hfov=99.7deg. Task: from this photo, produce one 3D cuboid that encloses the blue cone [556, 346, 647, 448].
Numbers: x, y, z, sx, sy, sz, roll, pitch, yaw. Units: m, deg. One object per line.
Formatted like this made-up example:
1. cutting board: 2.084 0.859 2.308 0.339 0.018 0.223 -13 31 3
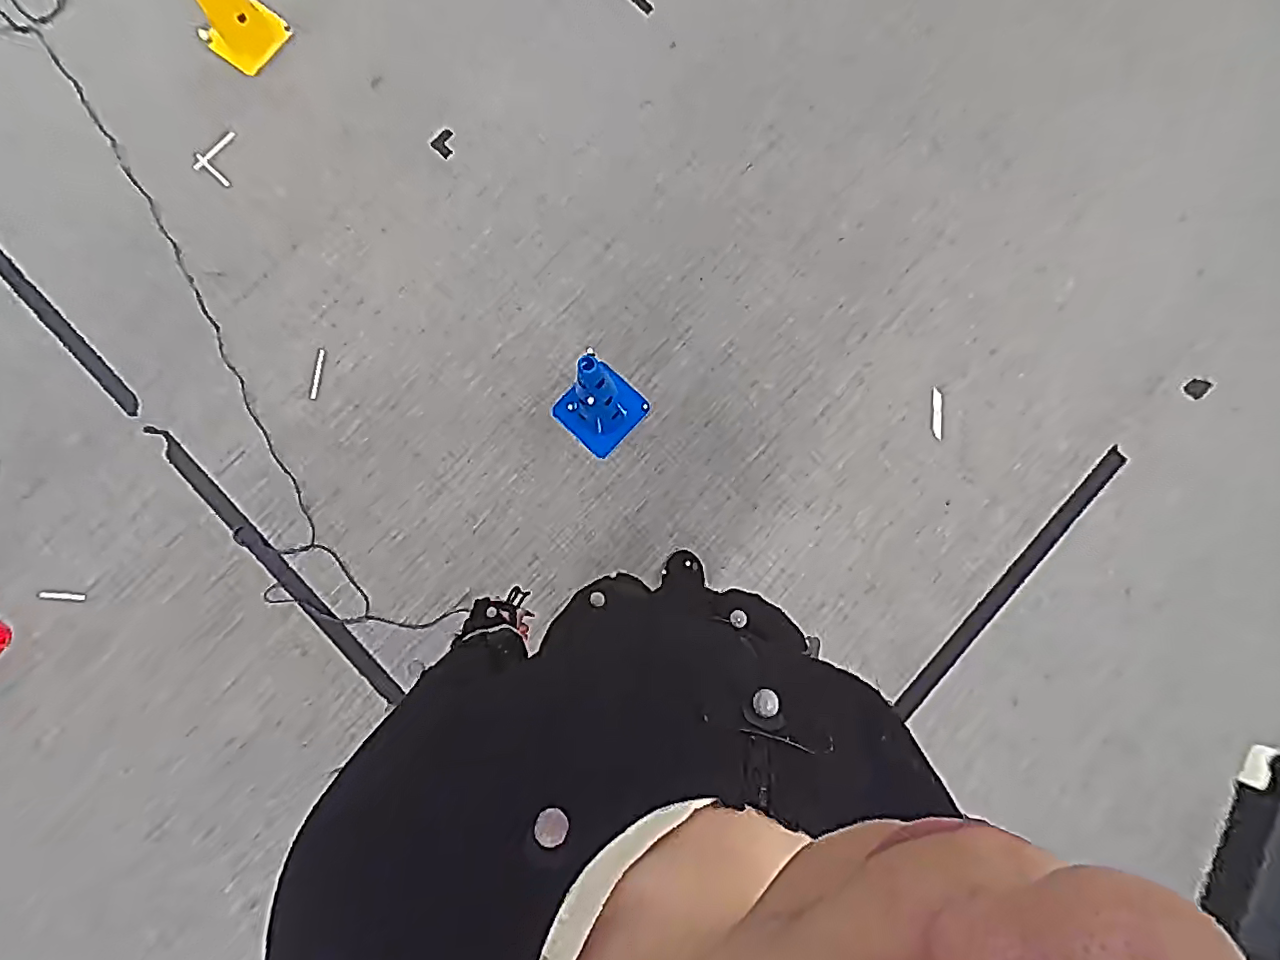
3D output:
1. blue cone: -0.104 -0.220 1.270 0.193 0.380 0.192 44 84 6
